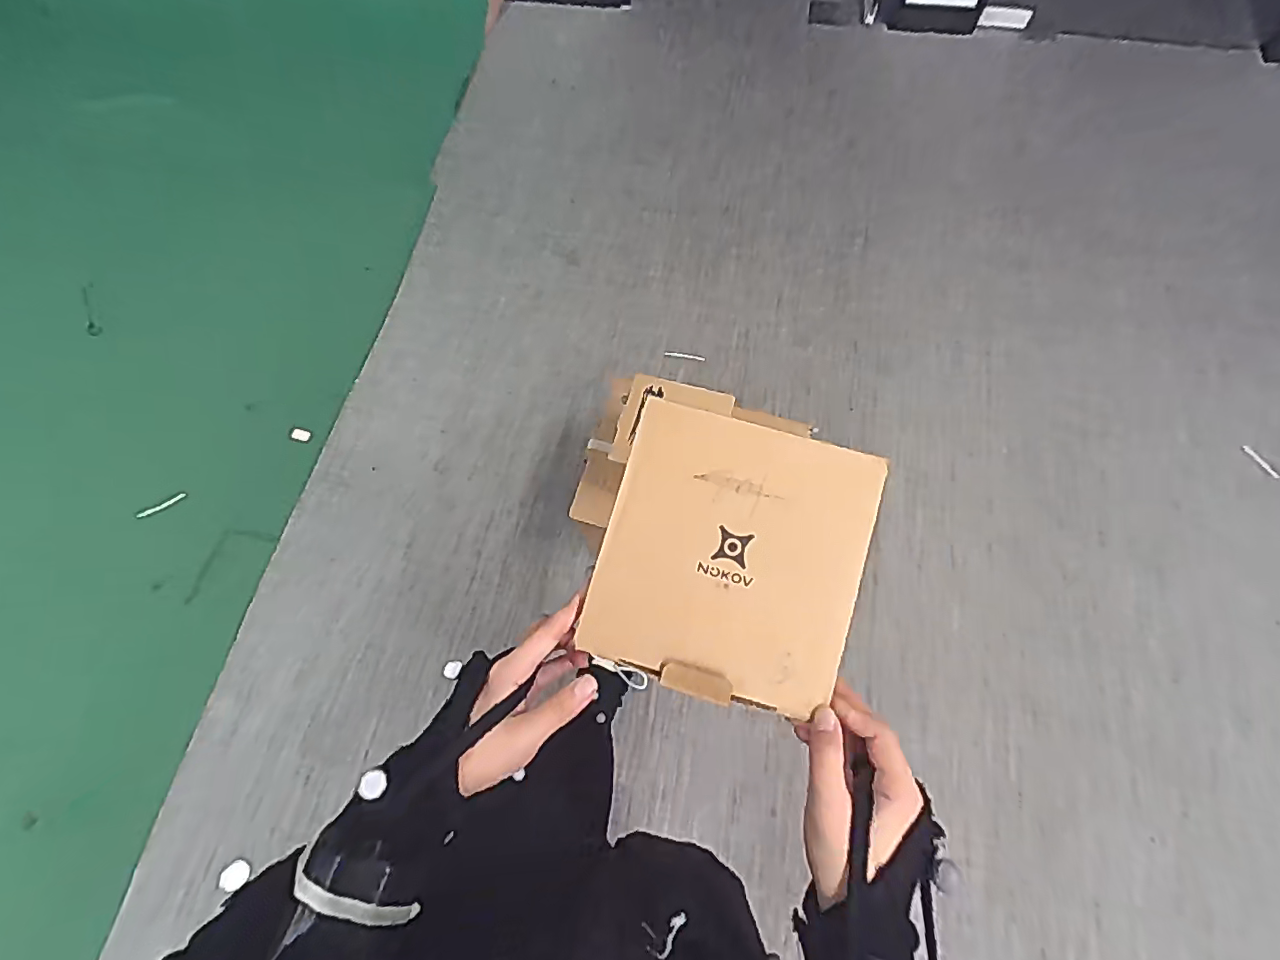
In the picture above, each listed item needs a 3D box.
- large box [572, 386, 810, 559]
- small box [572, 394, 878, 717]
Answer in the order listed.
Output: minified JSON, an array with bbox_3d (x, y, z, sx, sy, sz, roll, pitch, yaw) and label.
[{"bbox_3d":[0.103,0.044,1.169,0.408,0.320,0.320,15,71,6],"label":"large box"},{"bbox_3d":[0.061,0.056,0.431,0.168,0.176,0.179,15,82,5],"label":"small box"}]
